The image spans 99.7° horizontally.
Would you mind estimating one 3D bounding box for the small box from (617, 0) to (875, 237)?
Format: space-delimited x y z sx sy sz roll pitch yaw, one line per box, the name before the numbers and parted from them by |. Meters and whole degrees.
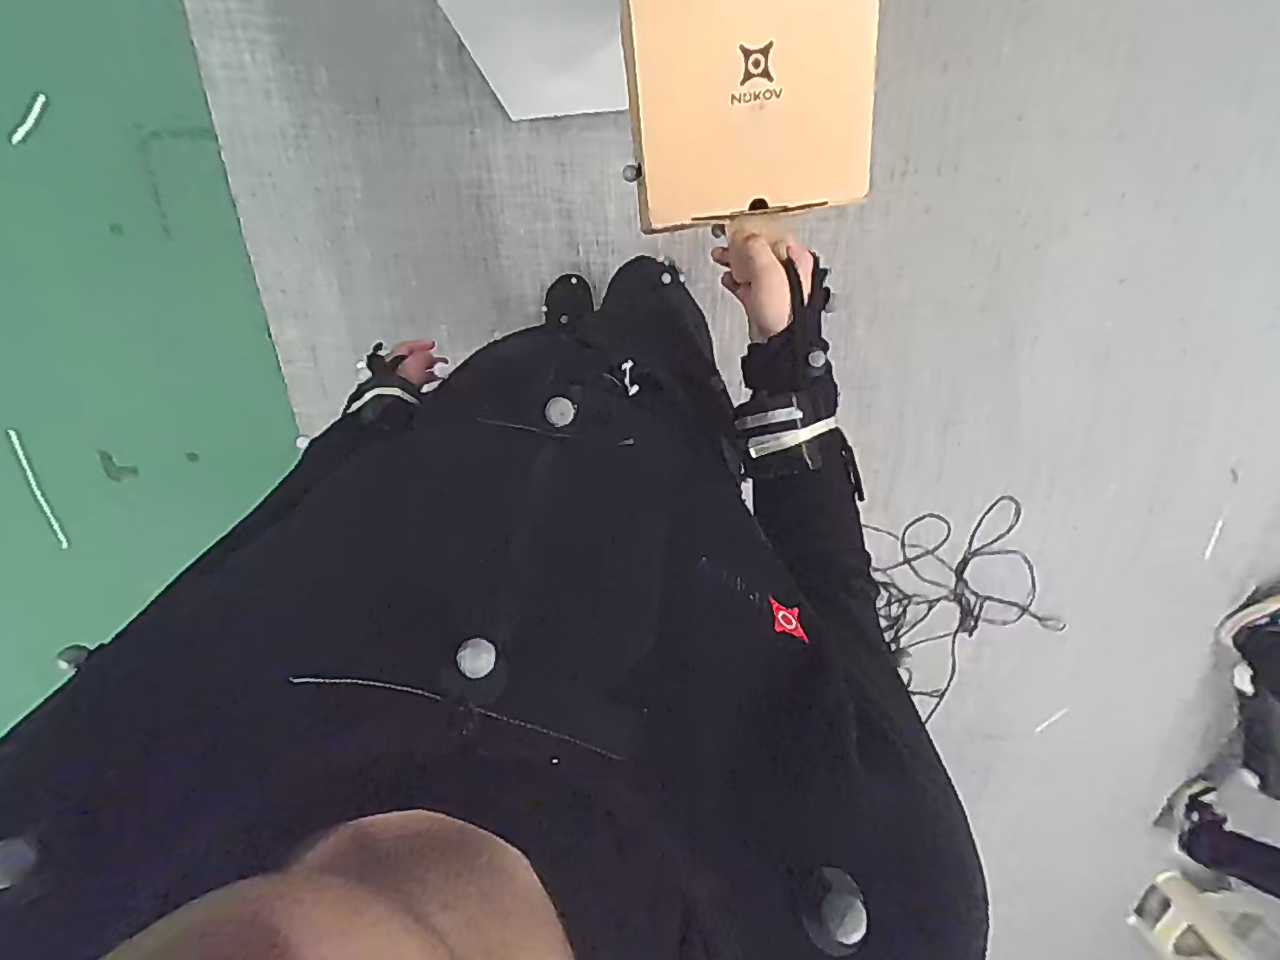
small box | 0.073 -0.306 0.443 0.168 0.176 0.179 -8 113 0
